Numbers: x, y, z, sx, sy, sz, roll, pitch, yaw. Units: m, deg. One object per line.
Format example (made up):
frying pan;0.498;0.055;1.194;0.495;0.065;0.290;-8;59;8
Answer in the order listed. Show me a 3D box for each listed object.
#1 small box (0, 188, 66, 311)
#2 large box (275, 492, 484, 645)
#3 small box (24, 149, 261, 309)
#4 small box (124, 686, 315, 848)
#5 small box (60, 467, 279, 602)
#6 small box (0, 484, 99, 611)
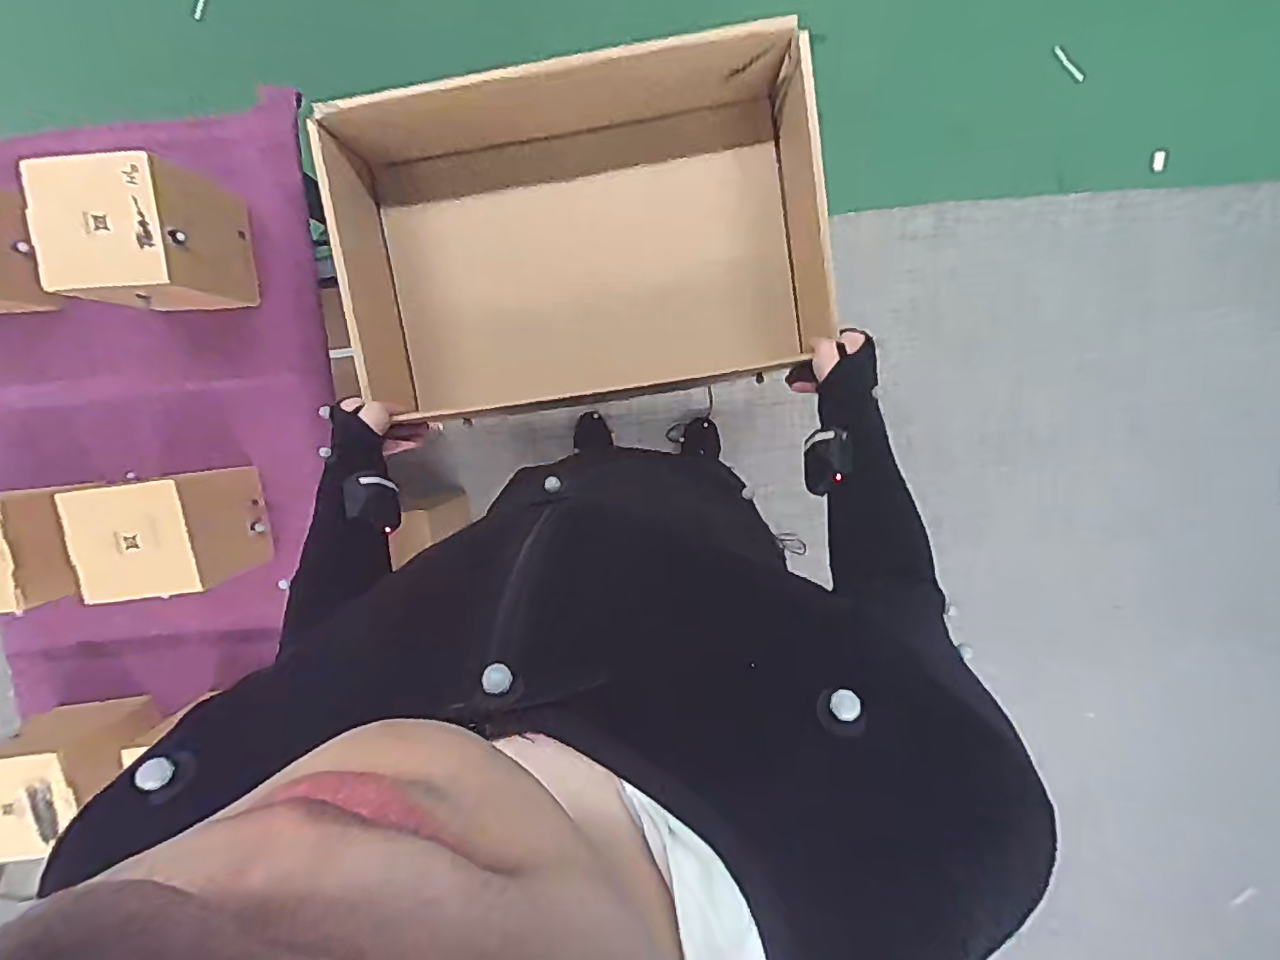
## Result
small box;-1.012;-0.340;0.780;0.179;0.176;0.168;-4;99;-1
large box;-0.701;0.231;1.521;0.408;0.320;0.320;-8;96;2
small box;-0.698;-0.347;0.779;0.179;0.176;0.168;-3;99;3
small box;-0.663;0.454;0.880;0.179;0.176;0.168;-7;96;2
small box;-0.709;0.076;0.835;0.179;0.176;0.168;-7;98;1
small box;-0.969;0.102;0.841;0.179;0.176;0.168;-5;97;0
